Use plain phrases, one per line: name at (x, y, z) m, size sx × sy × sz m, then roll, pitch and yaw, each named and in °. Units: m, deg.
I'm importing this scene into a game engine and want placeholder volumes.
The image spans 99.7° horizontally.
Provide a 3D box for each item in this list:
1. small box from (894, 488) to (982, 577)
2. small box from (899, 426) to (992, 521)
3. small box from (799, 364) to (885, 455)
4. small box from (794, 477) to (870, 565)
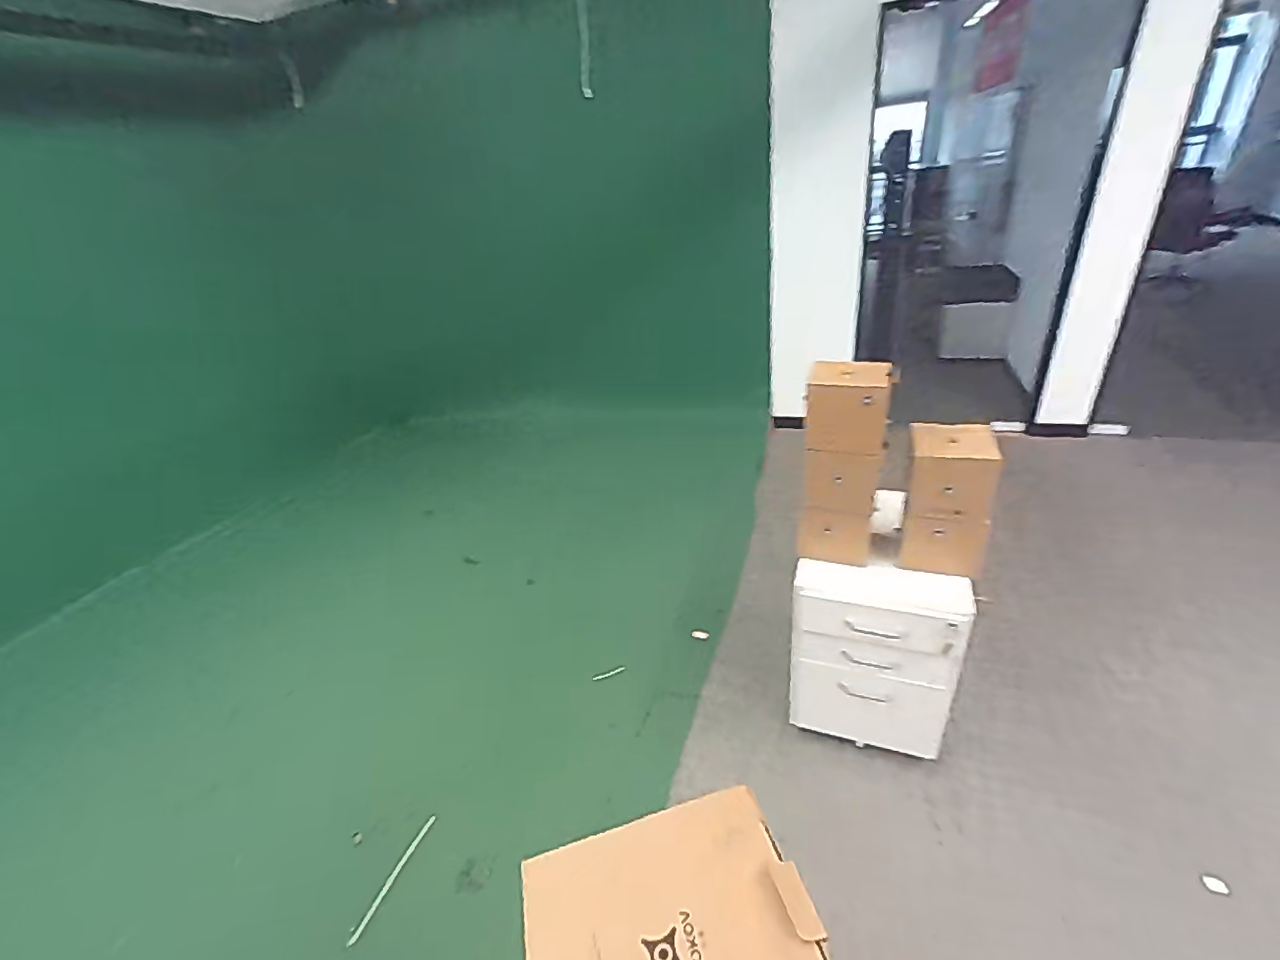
small box at (0.749, 0.127, 1.379) m, size 0.179 × 0.176 × 0.168 m, roll 6°, pitch 33°, yaw 22°
small box at (0.726, -0.017, 1.303) m, size 0.168 × 0.176 × 0.179 m, roll 5°, pitch 32°, yaw 20°
small box at (0.482, -0.170, 1.295) m, size 0.179 × 0.176 × 0.168 m, roll 7°, pitch 32°, yaw 21°
small box at (0.516, 0.110, 1.459) m, size 0.179 × 0.176 × 0.168 m, roll 7°, pitch 33°, yaw 21°
